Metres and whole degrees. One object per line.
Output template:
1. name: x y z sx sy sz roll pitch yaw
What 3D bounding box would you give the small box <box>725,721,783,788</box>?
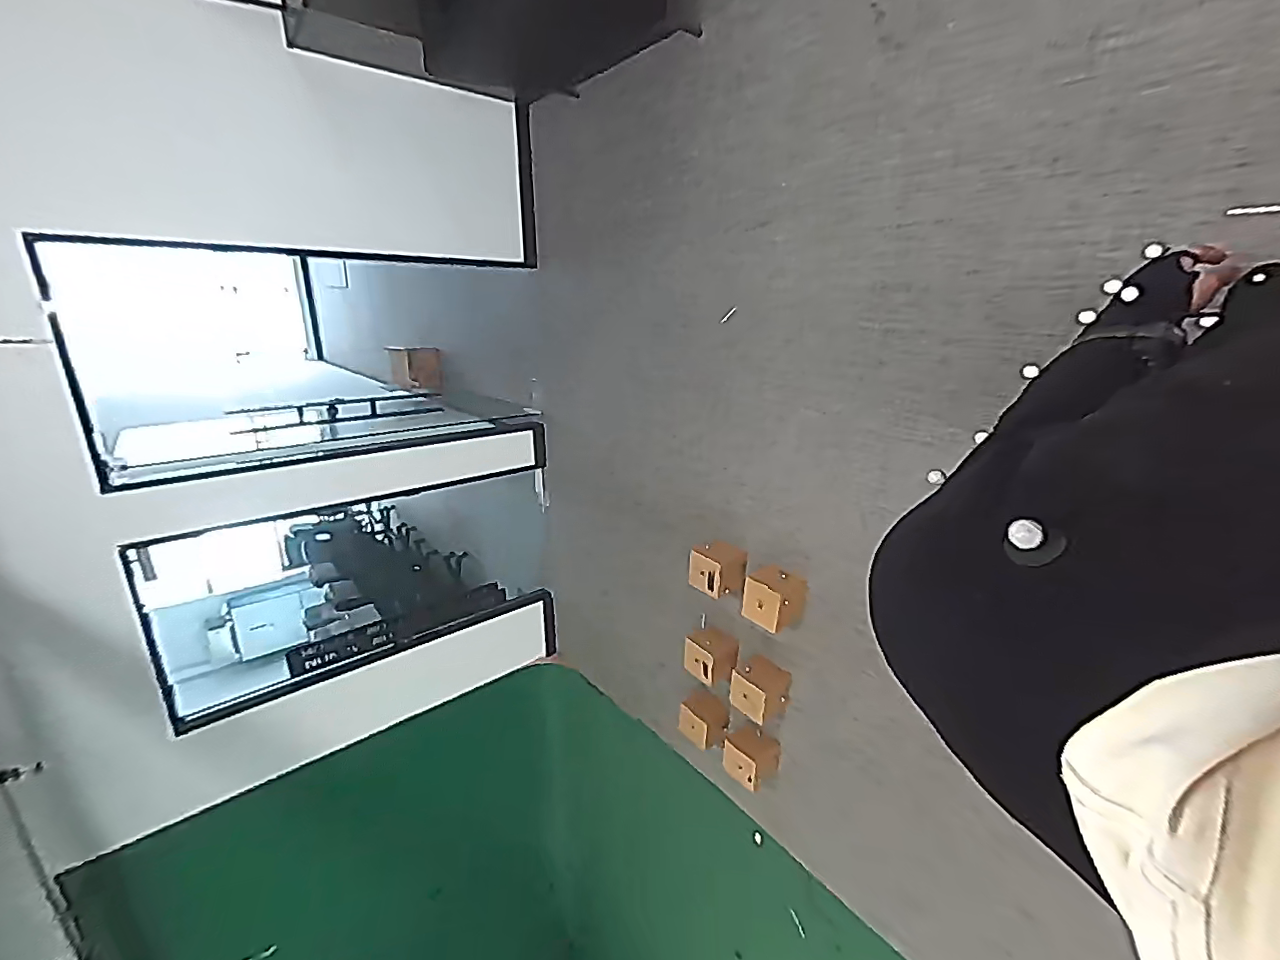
1. small box: 0.498 1.188 2.361 0.179 0.176 0.168 23 119 48

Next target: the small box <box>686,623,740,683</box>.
1. small box: 0.332 0.773 2.444 0.179 0.176 0.168 25 120 47

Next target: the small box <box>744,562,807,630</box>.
1. small box: 0.525 0.443 2.092 0.168 0.176 0.179 24 119 46

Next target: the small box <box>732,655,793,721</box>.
1. small box: 0.506 0.850 2.243 0.179 0.176 0.168 24 119 47
